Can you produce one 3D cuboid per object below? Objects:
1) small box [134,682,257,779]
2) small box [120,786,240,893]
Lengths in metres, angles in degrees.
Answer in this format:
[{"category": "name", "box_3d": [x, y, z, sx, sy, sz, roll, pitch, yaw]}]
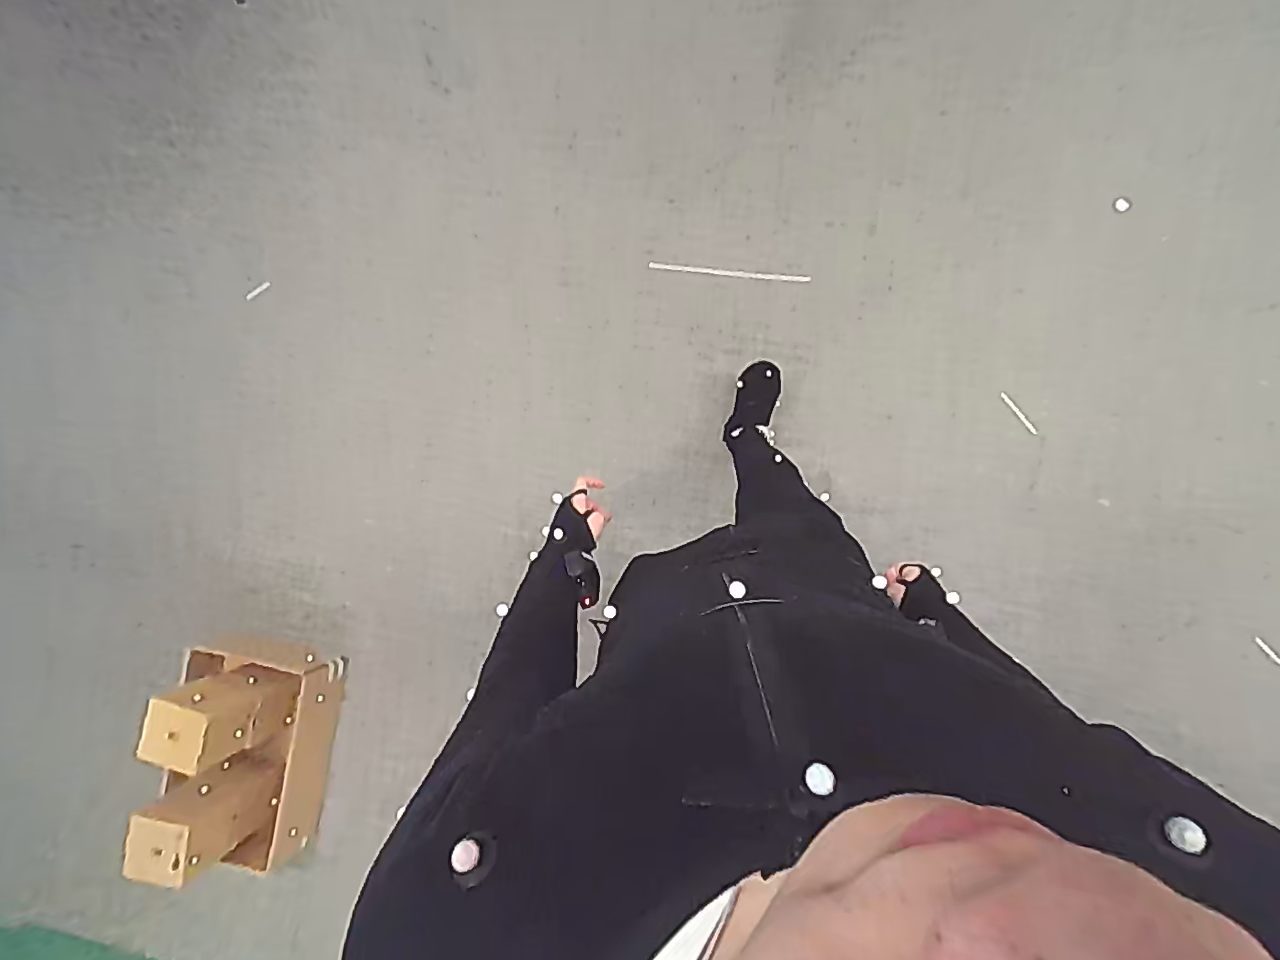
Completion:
[{"category": "small box", "box_3d": [-1.206, 0.671, 1.475, 0.179, 0.176, 0.168, 14, 90, 6]}, {"category": "small box", "box_3d": [-1.248, 0.968, 1.474, 0.179, 0.176, 0.168, 8, 91, 8]}]
